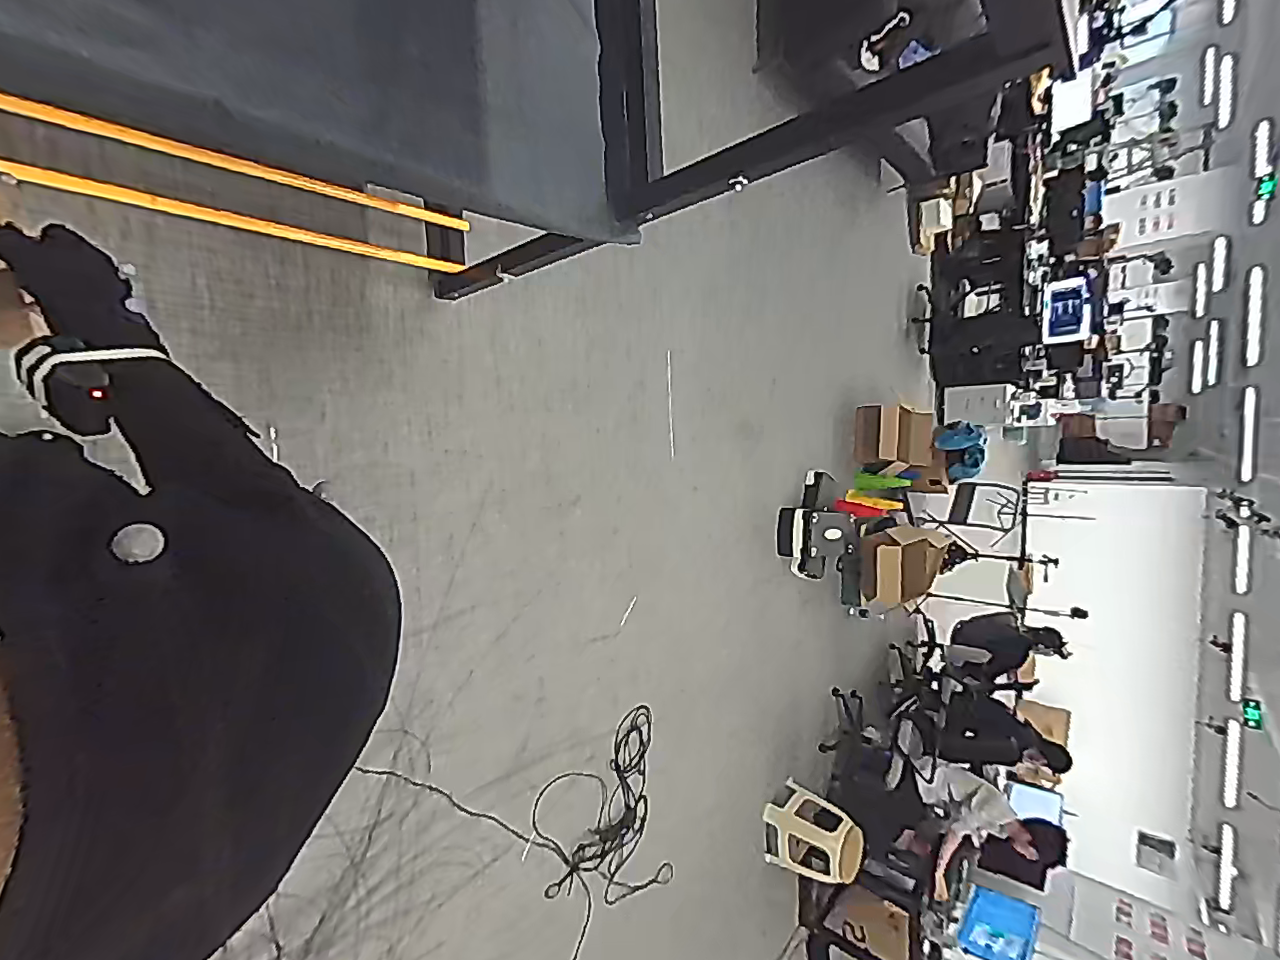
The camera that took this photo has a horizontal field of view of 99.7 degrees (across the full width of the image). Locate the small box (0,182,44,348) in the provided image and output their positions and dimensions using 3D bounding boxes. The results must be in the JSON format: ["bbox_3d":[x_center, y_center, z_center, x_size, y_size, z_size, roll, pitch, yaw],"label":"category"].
[{"bbox_3d":[-0.652,-0.224,0.453,0.168,0.176,0.179,-16,90,-41],"label":"small box"}]
